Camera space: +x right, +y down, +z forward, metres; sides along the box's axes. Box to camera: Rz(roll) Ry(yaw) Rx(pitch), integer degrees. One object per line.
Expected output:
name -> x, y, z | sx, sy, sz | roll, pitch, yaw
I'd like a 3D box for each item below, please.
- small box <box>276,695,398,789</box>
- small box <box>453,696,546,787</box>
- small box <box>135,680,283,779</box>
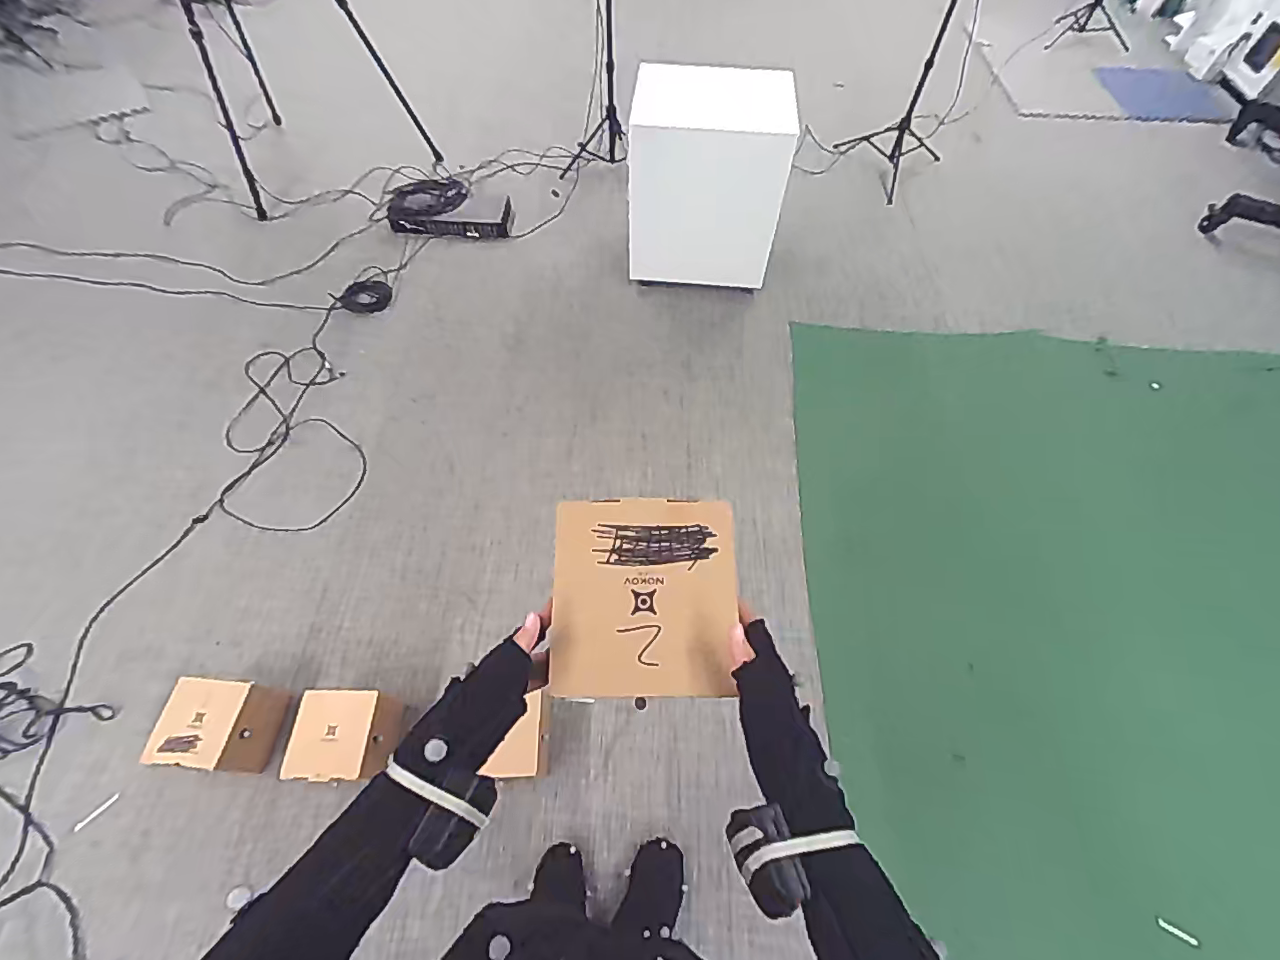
small box -> -0.668, 0.593, 1.220 | 0.168, 0.176, 0.179 | 1, 59, -1
small box -> -0.308, 0.596, 1.227 | 0.168, 0.176, 0.179 | 0, 59, -2
small box -> -0.958, 0.570, 1.225 | 0.168, 0.176, 0.179 | 6, 58, 2
